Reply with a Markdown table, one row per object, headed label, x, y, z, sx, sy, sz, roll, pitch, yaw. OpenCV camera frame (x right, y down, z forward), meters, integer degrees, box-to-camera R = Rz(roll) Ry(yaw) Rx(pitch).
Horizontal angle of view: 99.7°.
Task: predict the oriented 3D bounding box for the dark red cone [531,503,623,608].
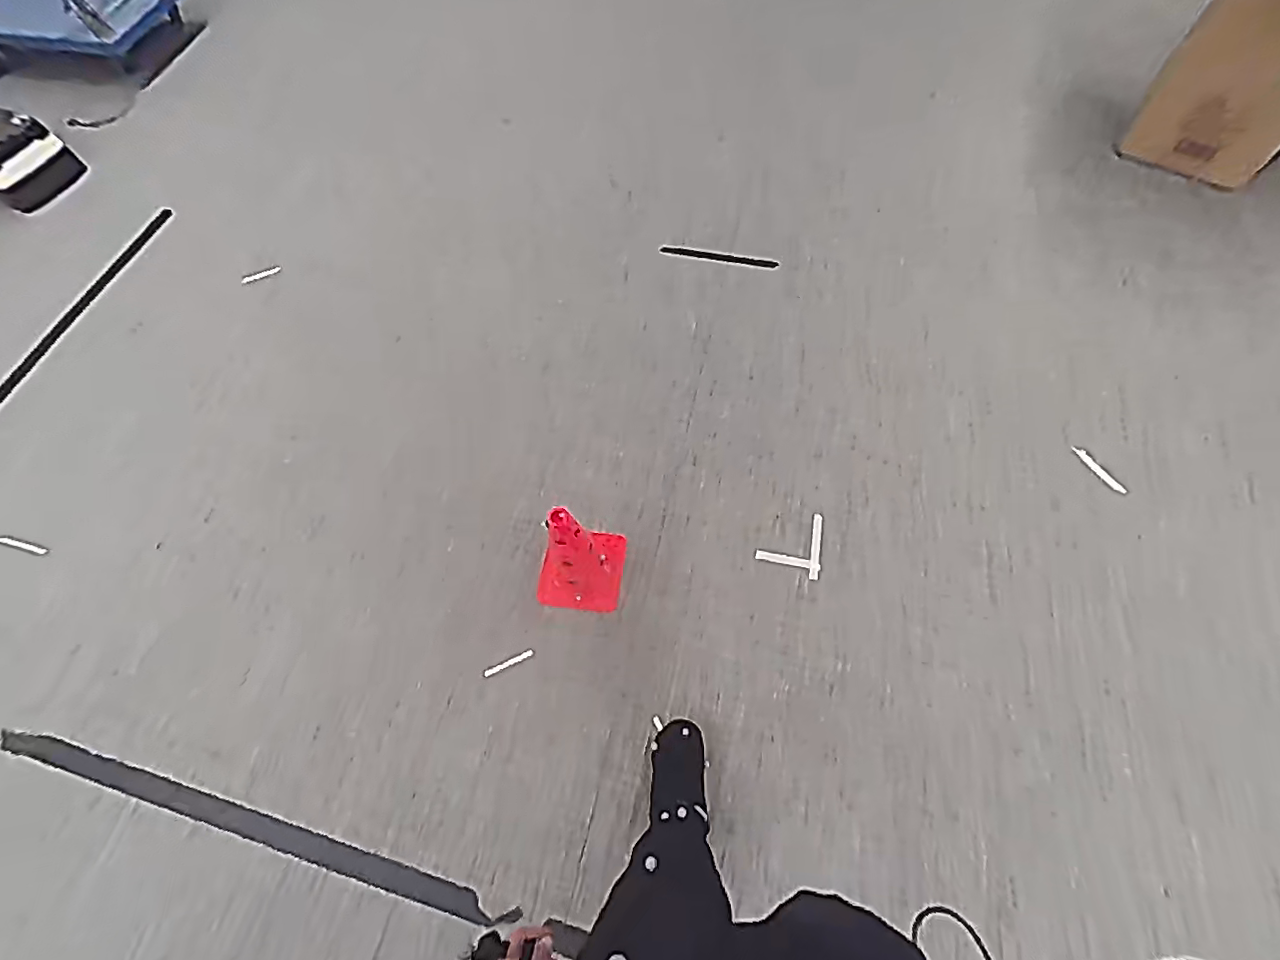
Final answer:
| label | x | y | z | sx | sy | sz | roll | pitch | yaw |
| --- | --- | --- | --- | --- | --- | --- | --- | --- | --- |
| dark red cone | -0.155 | 0.138 | 1.161 | 0.202 | 0.394 | 0.201 | 5 | 66 | 5 |
